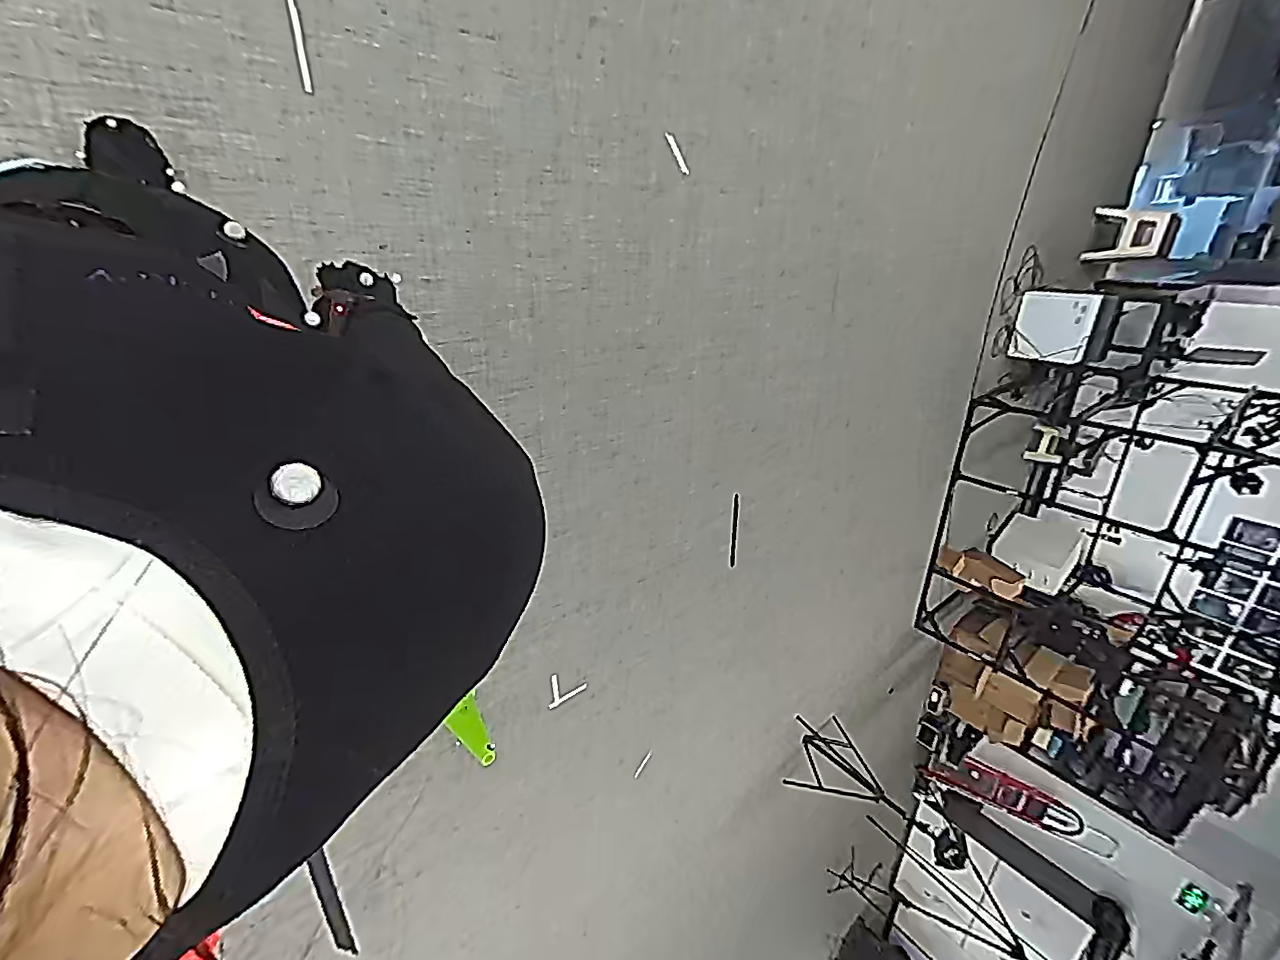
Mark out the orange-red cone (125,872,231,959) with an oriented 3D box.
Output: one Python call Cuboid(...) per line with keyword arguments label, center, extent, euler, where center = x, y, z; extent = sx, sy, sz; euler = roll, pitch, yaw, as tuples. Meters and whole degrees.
Cuboid(label="orange-red cone", center=(-1.116, 1.212, 1.316), extent=(0.199, 0.360, 0.198), euler=(-11, 114, -37))
